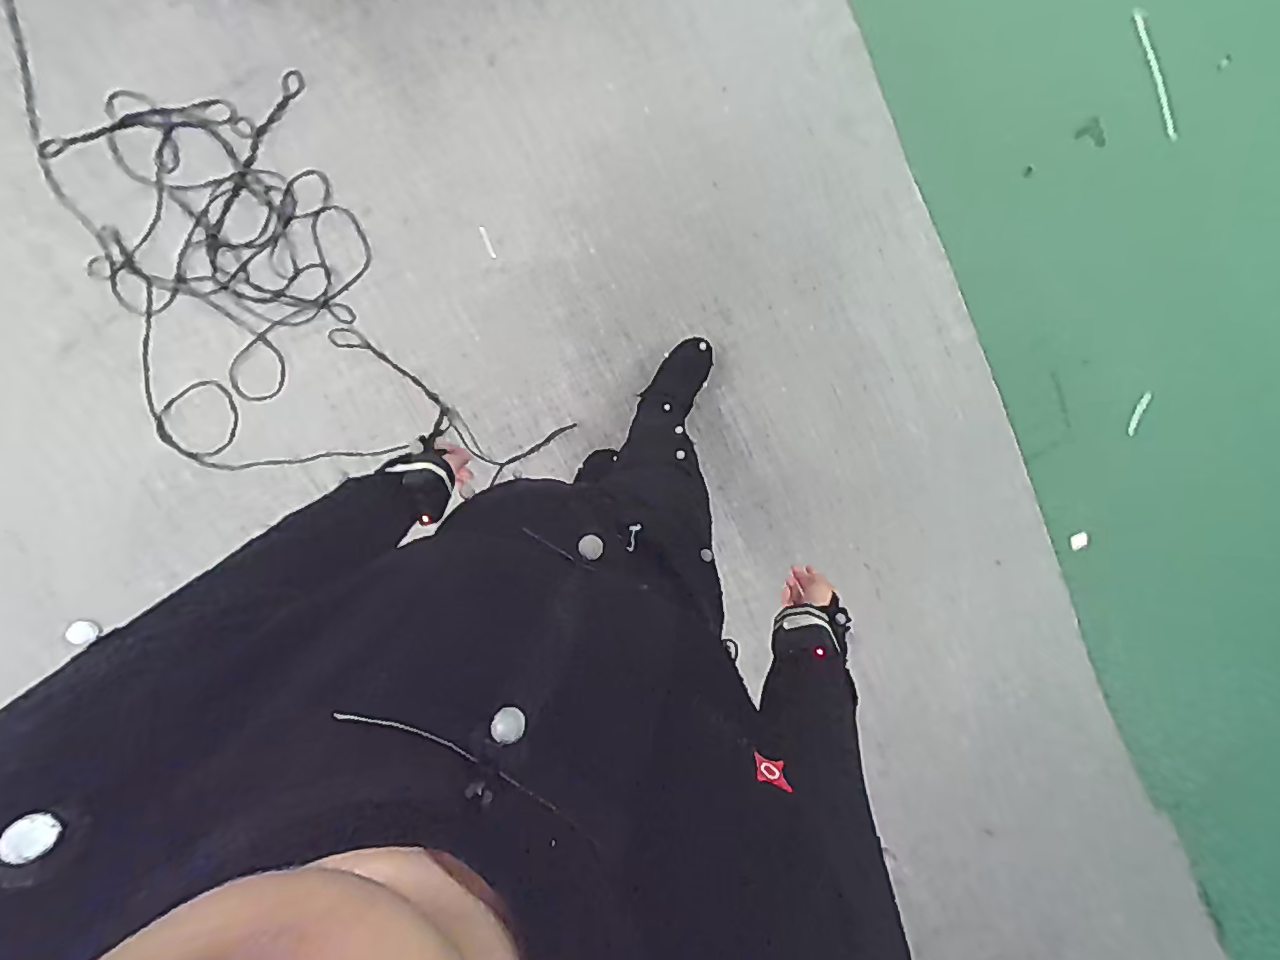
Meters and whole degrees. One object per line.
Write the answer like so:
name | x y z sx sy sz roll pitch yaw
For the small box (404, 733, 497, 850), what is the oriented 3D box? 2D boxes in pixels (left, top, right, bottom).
small box | -0.455 0.757 1.326 0.168 0.176 0.179 -6 98 -4
